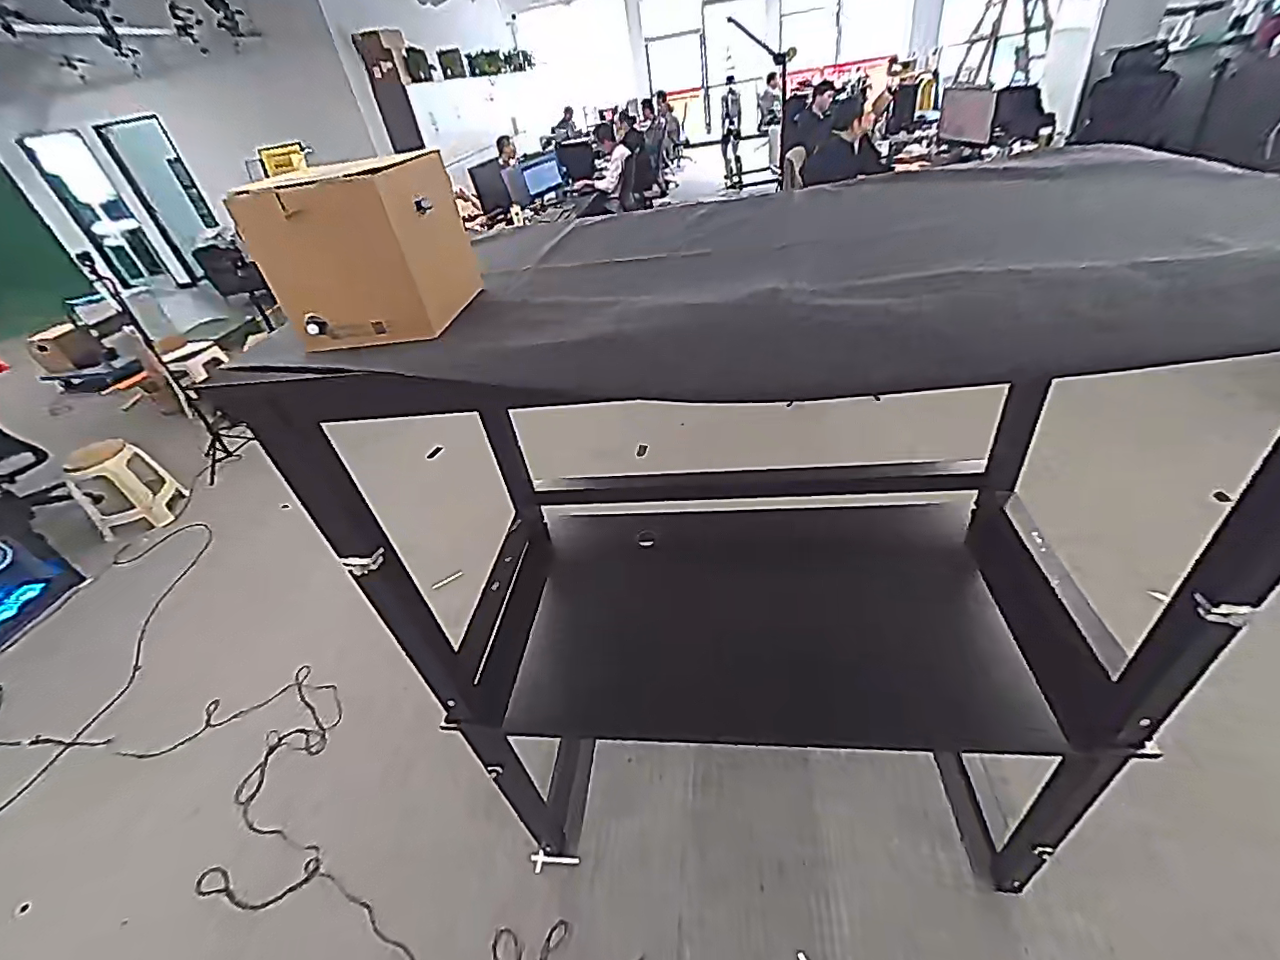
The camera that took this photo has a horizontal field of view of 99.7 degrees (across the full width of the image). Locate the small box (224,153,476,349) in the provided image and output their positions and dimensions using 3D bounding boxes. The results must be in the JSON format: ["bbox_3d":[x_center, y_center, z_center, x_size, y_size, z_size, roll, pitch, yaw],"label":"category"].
[{"bbox_3d":[-0.311,-0.261,0.630,0.168,0.176,0.179,-3,37,8],"label":"small box"}]
